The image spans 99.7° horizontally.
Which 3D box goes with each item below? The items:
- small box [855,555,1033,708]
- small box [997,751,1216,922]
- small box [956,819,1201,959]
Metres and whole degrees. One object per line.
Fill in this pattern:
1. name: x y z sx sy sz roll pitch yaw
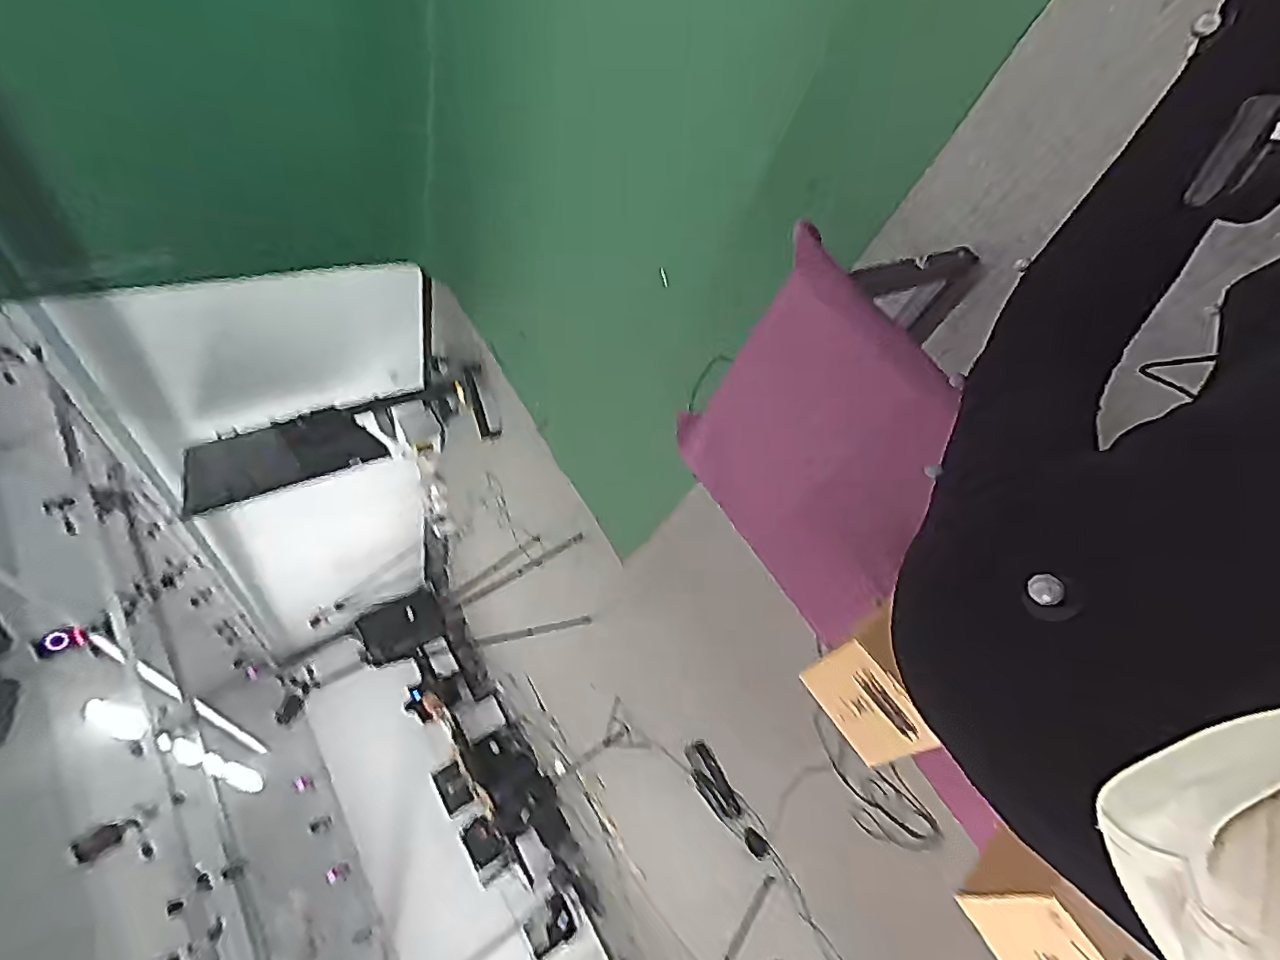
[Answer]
1. small box: 0.522 0.259 0.934 0.168 0.176 0.179 54 145 21
2. small box: 0.712 0.552 0.832 0.168 0.176 0.179 53 144 24
3. small box: 0.587 0.596 0.732 0.168 0.176 0.179 53 145 21
